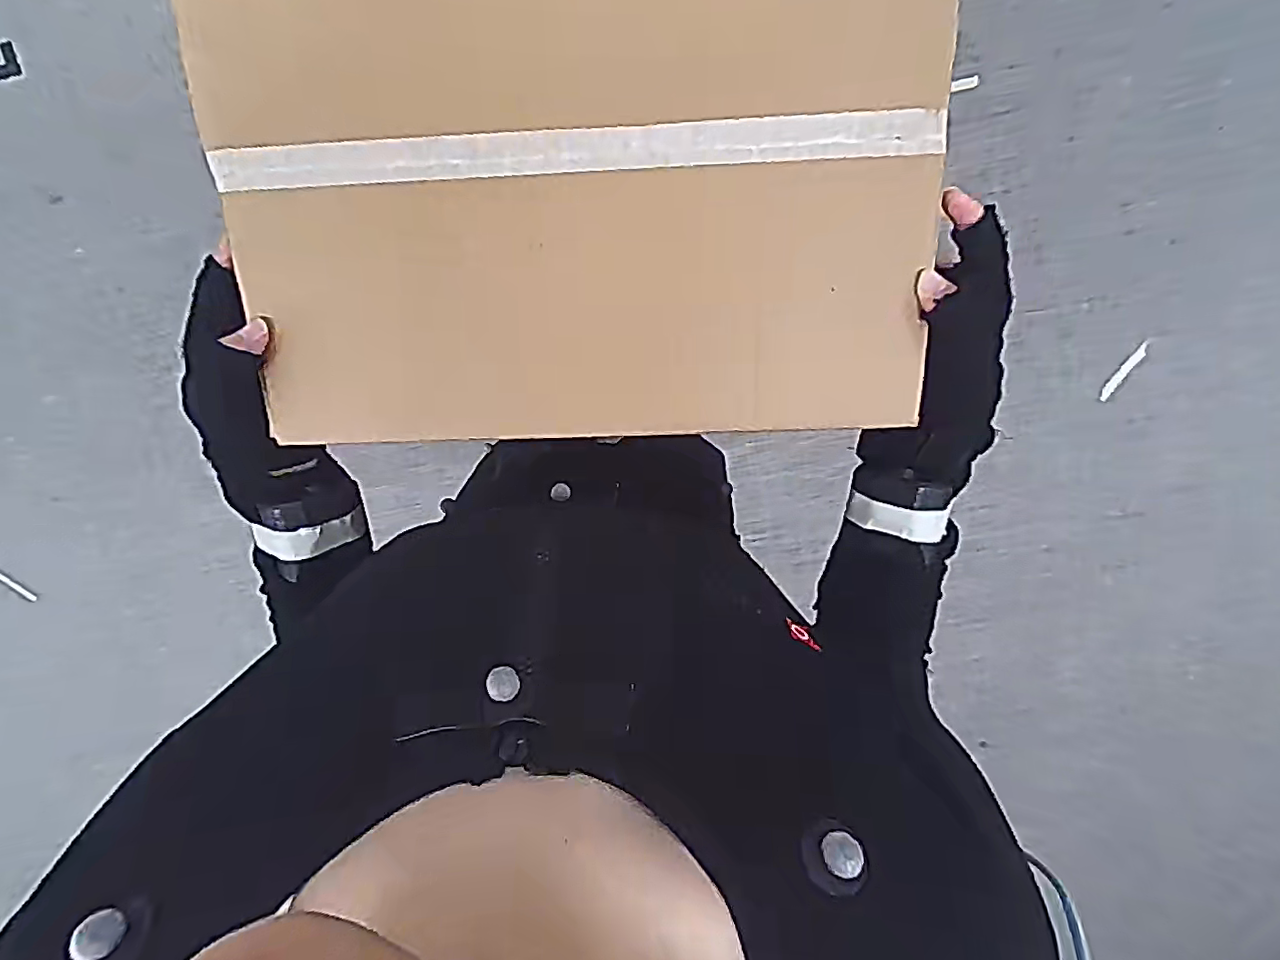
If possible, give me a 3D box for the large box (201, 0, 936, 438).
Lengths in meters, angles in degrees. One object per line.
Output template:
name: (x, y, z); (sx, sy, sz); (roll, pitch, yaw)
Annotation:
large box: (-0.036, -0.223, 0.454); (0.408, 0.320, 0.320); (-2, 106, 2)
